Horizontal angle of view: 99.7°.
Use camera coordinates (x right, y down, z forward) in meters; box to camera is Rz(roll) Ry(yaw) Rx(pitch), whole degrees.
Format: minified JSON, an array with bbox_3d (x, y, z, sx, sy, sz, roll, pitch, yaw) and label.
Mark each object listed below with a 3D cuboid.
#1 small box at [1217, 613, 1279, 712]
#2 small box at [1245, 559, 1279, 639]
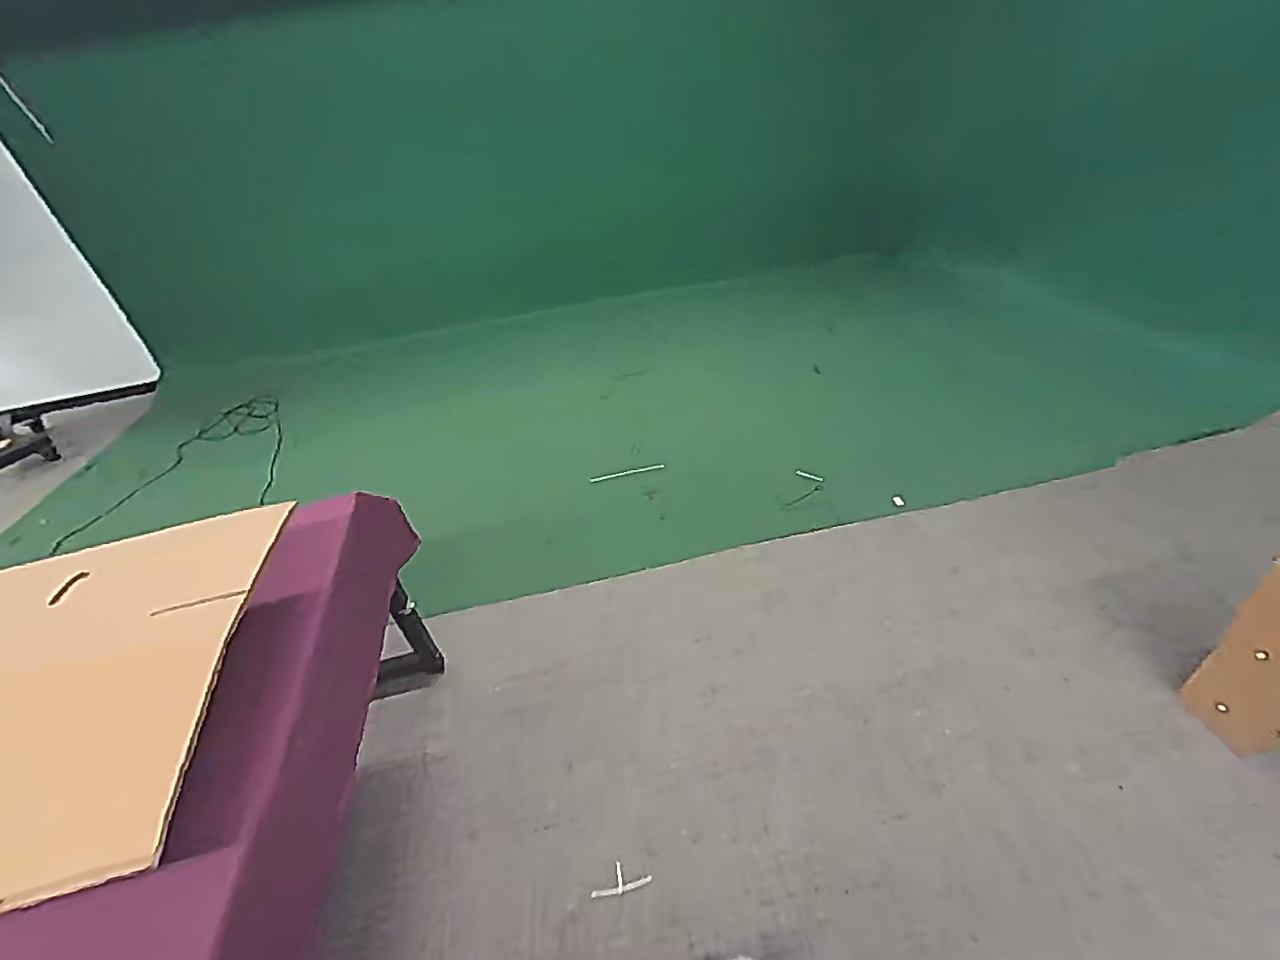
[{"bbox_3d":[1.516,0.414,1.245,0.168,0.176,0.179,-11,36,0],"label":"small box"},{"bbox_3d":[1.491,0.277,1.160,0.168,0.176,0.179,-9,36,2],"label":"small box"}]
